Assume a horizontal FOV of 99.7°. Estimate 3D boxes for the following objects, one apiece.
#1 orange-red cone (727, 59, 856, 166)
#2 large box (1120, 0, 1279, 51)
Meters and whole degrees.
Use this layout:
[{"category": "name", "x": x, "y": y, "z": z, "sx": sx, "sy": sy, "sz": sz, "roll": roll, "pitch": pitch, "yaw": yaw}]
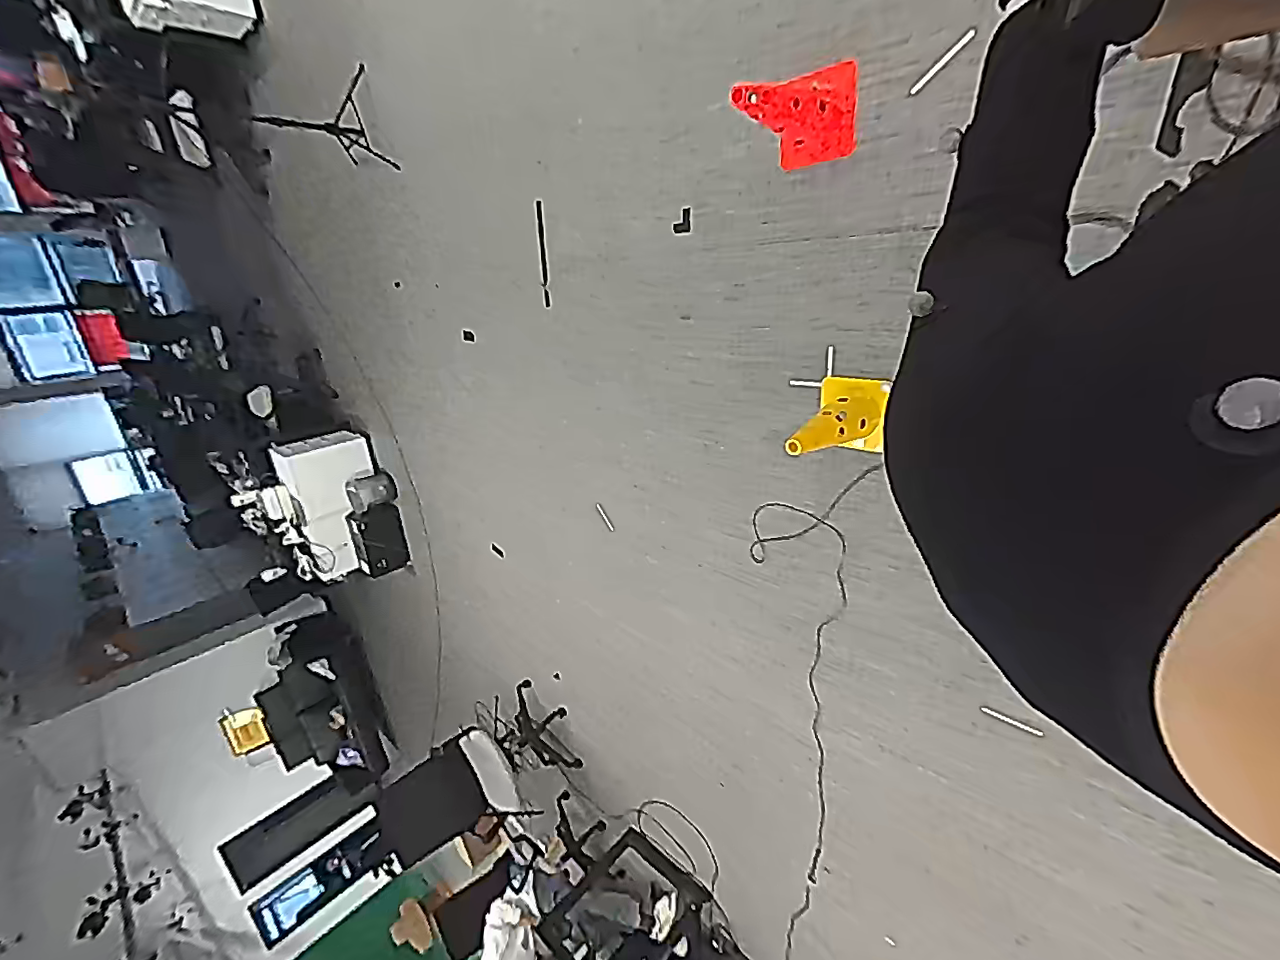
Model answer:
[{"category": "orange-red cone", "x": 0.318, "y": -0.848, "z": 1.229, "sx": 0.198, "sy": 0.360, "sz": 0.199, "roll": 15, "pitch": 119, "yaw": 42}, {"category": "large box", "x": 0.536, "y": -0.487, "z": 0.271, "sx": 0.408, "sy": 0.320, "sz": 0.320, "roll": 15, "pitch": 121, "yaw": 40}]
